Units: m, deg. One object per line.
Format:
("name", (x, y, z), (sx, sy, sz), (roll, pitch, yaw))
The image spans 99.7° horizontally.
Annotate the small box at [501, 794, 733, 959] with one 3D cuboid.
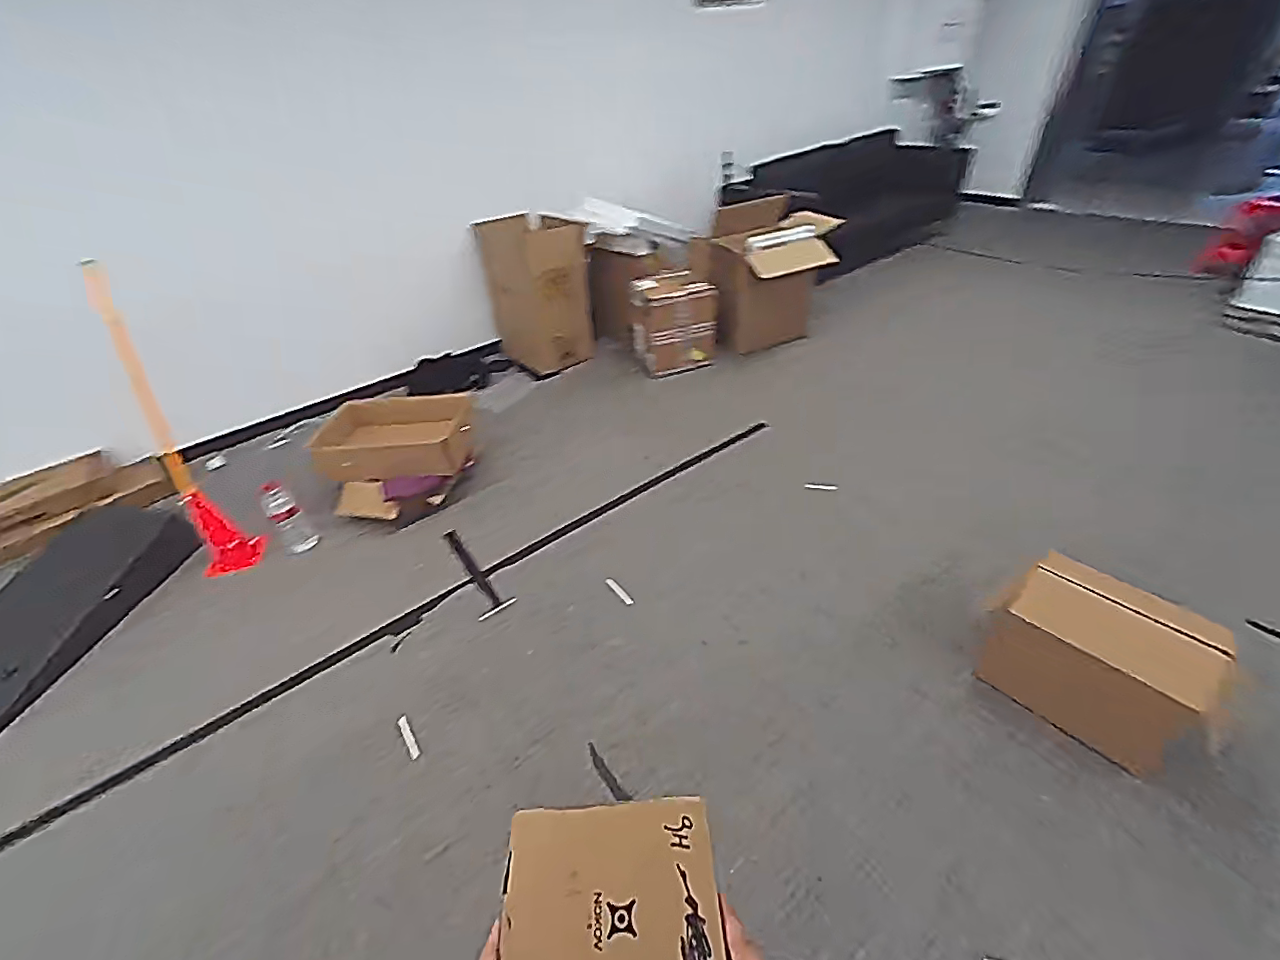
("small box", (-0.013, 0.398, 0.473), (0.179, 0.176, 0.168), (-3, 41, 1))
